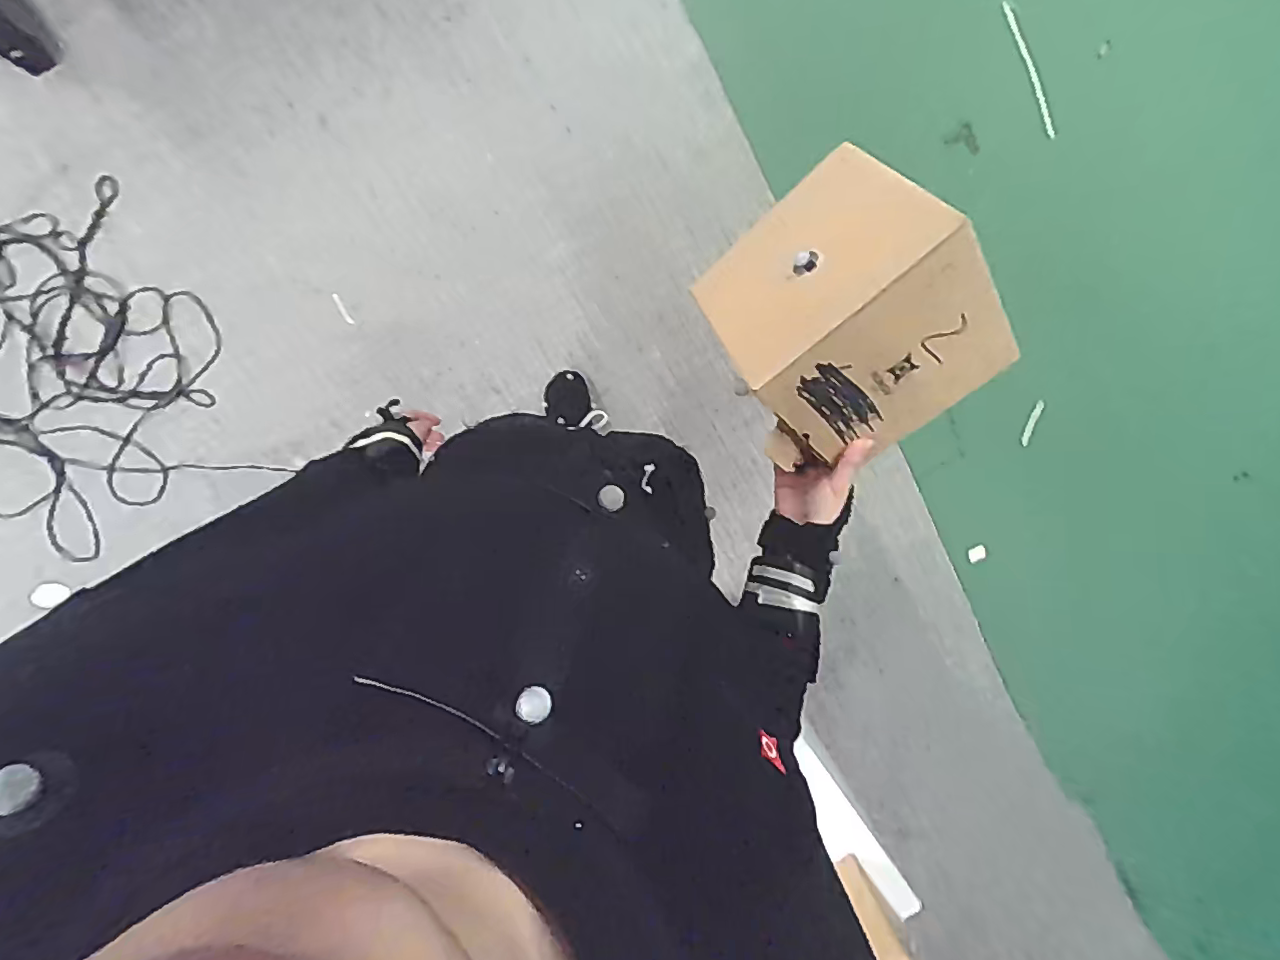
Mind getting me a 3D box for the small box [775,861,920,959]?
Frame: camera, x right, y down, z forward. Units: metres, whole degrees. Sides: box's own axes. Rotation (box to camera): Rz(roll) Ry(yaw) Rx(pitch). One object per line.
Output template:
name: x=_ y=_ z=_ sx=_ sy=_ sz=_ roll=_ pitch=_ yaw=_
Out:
small box: x=0.339 y=0.753 z=0.840 sx=0.168 sy=0.176 sz=0.179 roll=-35 pitch=100 yaw=4
